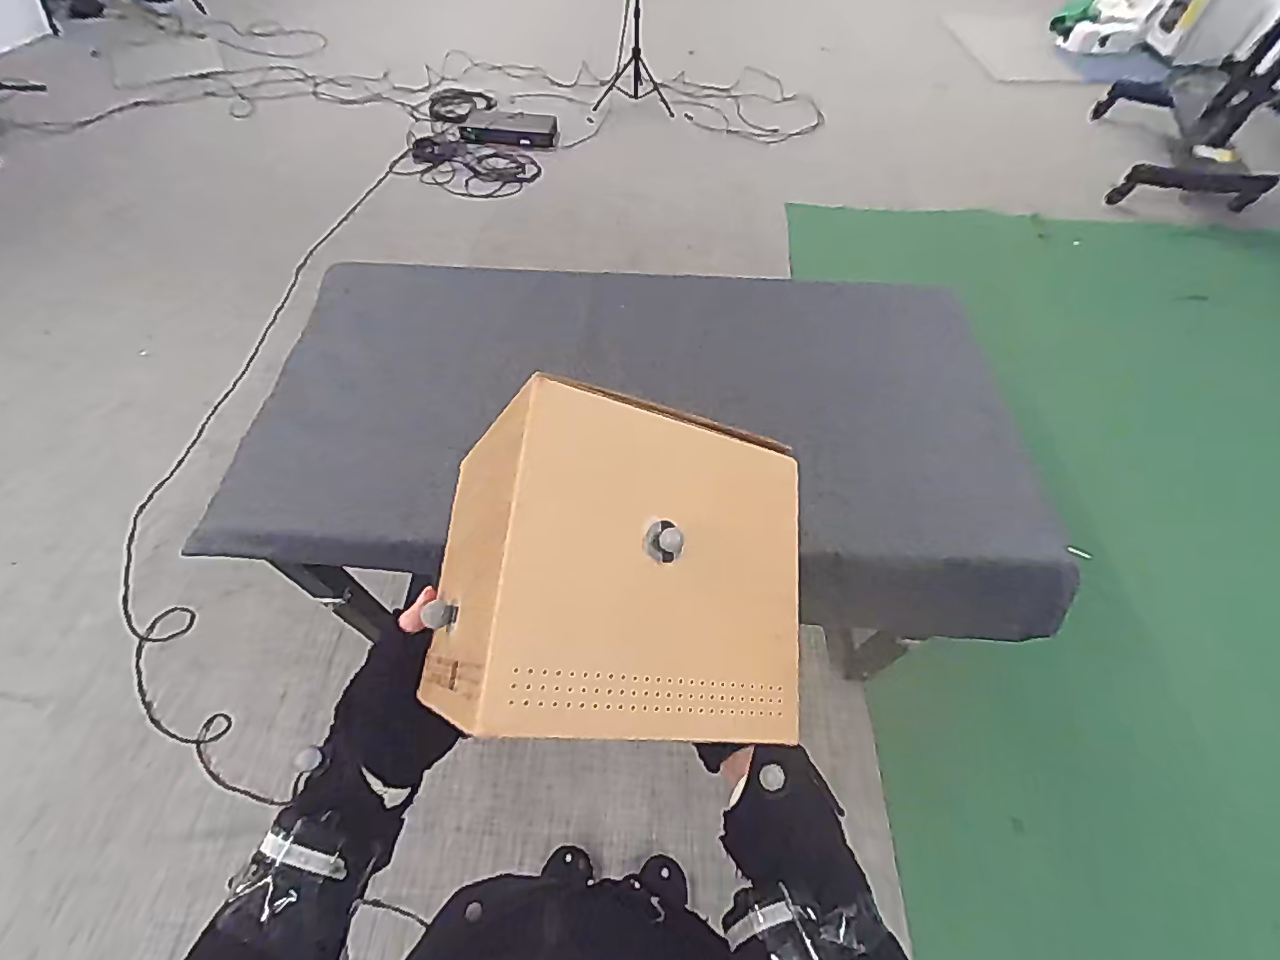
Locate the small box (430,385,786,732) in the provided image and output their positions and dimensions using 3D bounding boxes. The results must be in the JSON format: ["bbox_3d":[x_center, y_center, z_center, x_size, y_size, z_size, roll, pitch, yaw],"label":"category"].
[{"bbox_3d":[-0.024,0.064,0.361,0.179,0.168,0.176,13,70,-26],"label":"small box"}]
